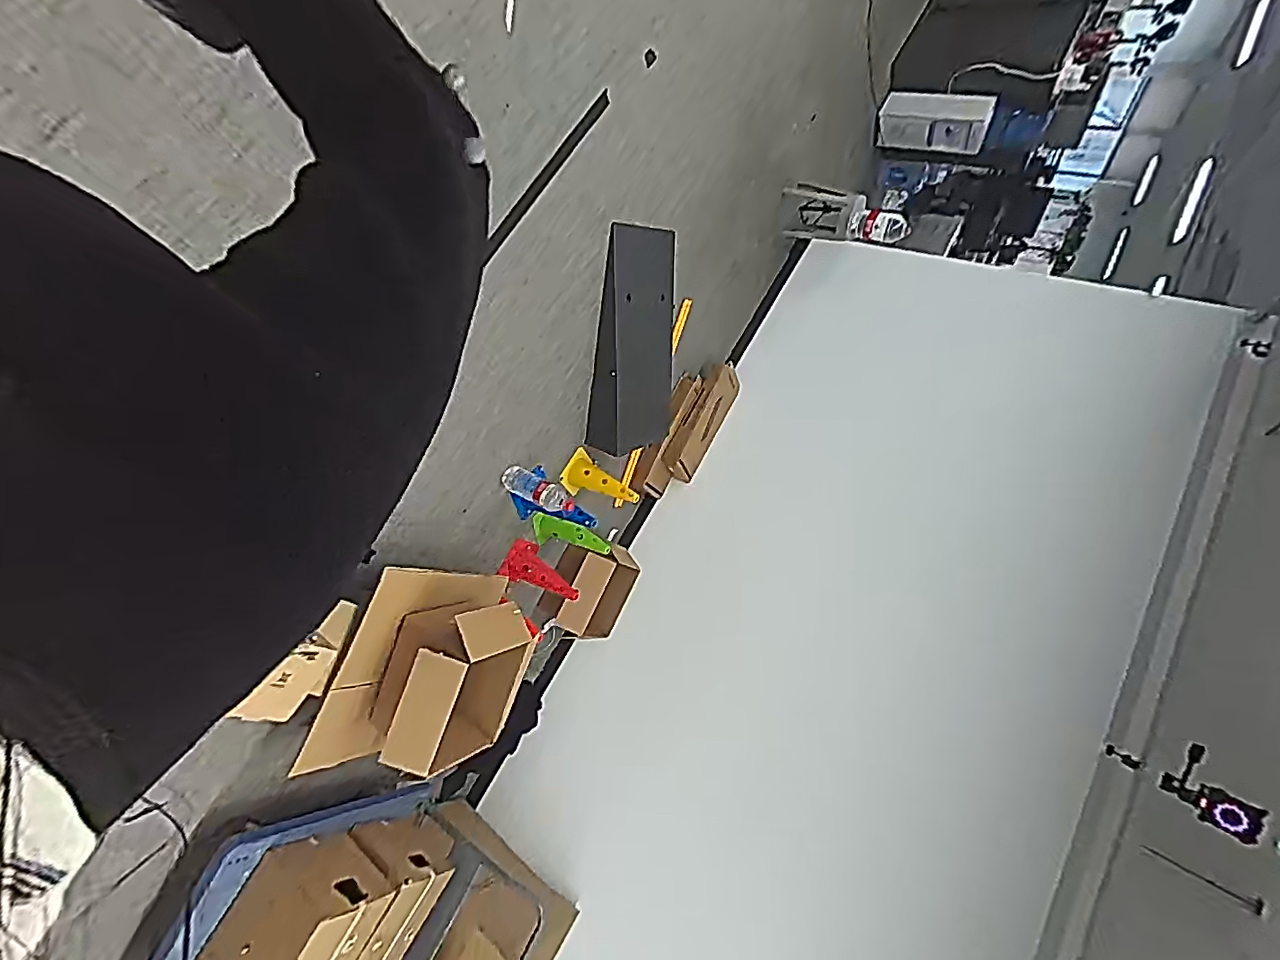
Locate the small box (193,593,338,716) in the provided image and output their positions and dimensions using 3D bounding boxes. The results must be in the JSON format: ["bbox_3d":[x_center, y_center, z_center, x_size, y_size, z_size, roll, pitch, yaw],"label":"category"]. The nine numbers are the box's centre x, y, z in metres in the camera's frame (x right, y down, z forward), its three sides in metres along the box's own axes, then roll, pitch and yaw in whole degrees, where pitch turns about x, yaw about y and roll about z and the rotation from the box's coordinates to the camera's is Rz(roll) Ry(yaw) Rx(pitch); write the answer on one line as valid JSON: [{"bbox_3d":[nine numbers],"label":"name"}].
[{"bbox_3d":[-0.806,0.375,1.161,0.179,0.176,0.168,-56,151,-14],"label":"small box"}]
